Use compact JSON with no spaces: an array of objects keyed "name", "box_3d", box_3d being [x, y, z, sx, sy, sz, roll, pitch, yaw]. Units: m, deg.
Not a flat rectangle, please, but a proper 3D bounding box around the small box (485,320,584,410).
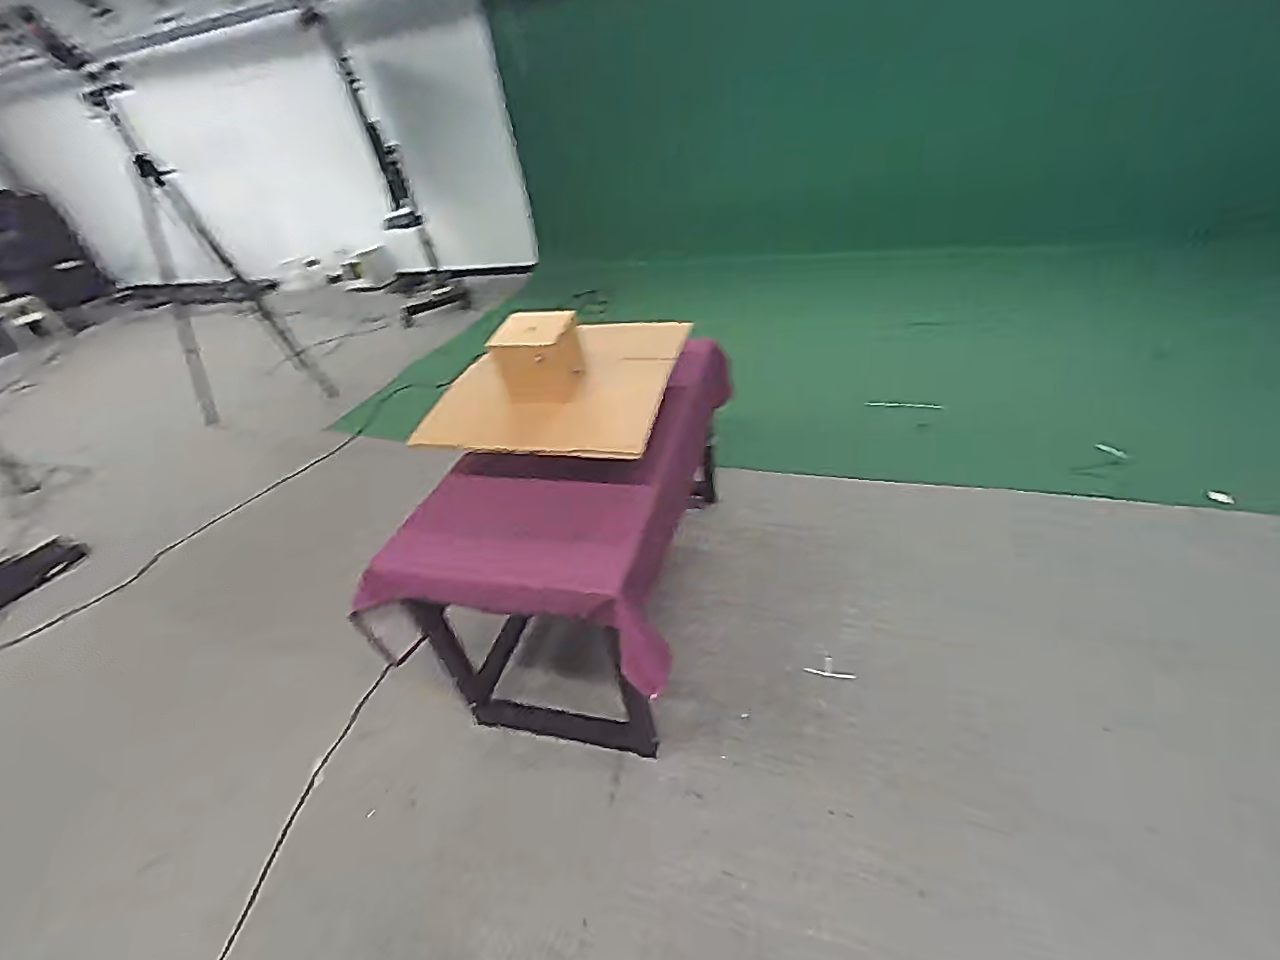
[{"name":"small box","box_3d":[-0.264,-0.294,1.397,0.179,0.176,0.168,3,45,15]}]
